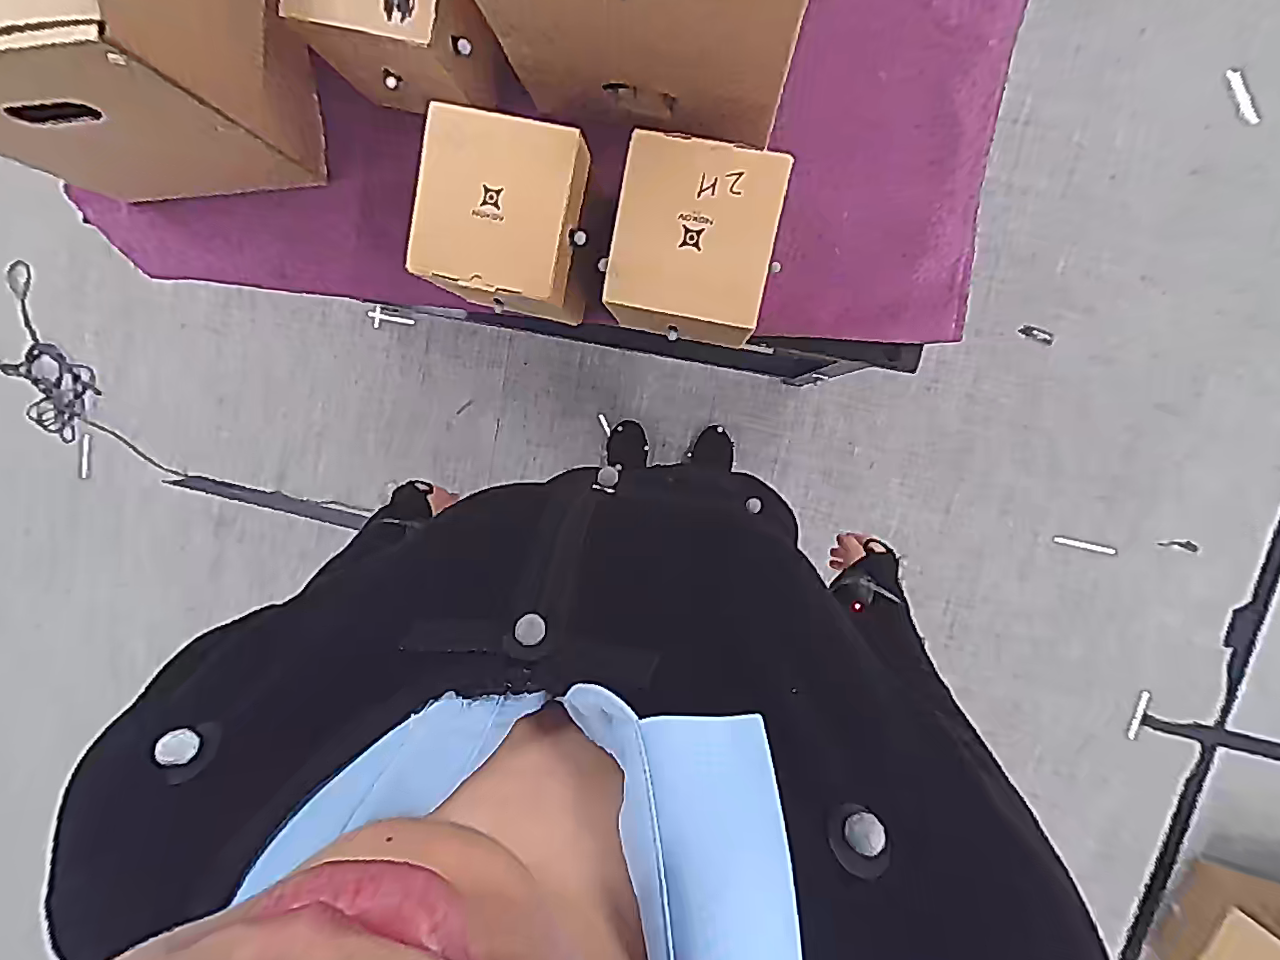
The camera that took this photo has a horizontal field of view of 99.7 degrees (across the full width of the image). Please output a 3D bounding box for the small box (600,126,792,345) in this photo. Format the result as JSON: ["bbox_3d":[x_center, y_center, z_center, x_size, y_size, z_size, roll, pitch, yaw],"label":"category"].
[{"bbox_3d":[0.062,-0.264,0.628,0.168,0.176,0.179,13,97,3],"label":"small box"}]
